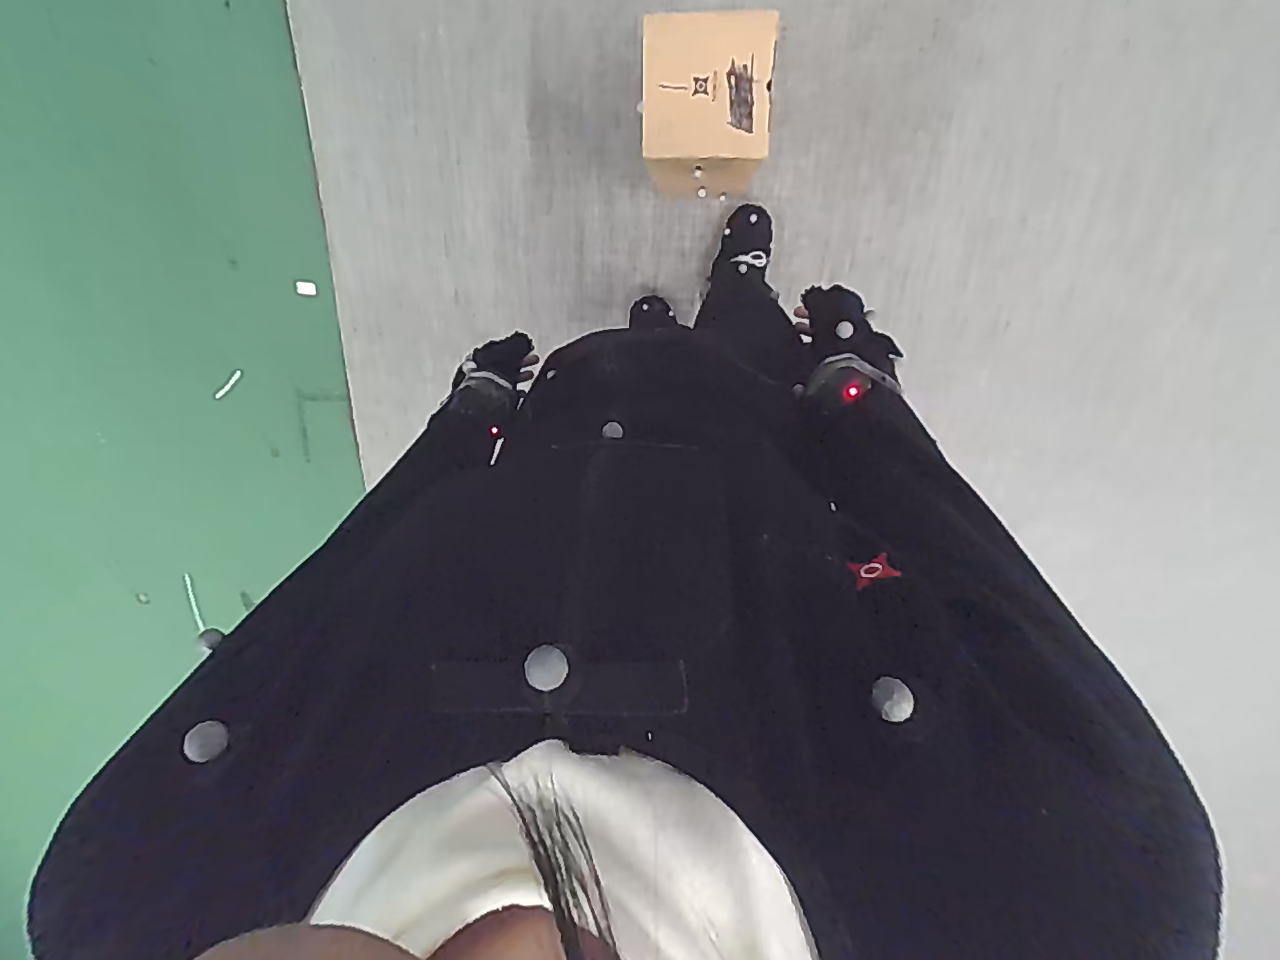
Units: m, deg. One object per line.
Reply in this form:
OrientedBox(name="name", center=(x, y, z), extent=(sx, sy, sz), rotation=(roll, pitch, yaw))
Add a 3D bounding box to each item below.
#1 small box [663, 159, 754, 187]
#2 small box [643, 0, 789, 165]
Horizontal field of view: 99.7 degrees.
OrientedBox(name="small box", center=(0.140, -0.696, 1.090), extent=(0.179, 0.176, 0.168), rotation=(3, 112, 7))
OrientedBox(name="small box", center=(0.103, -0.569, 0.786), extent=(0.179, 0.176, 0.168), rotation=(5, 111, 4))
